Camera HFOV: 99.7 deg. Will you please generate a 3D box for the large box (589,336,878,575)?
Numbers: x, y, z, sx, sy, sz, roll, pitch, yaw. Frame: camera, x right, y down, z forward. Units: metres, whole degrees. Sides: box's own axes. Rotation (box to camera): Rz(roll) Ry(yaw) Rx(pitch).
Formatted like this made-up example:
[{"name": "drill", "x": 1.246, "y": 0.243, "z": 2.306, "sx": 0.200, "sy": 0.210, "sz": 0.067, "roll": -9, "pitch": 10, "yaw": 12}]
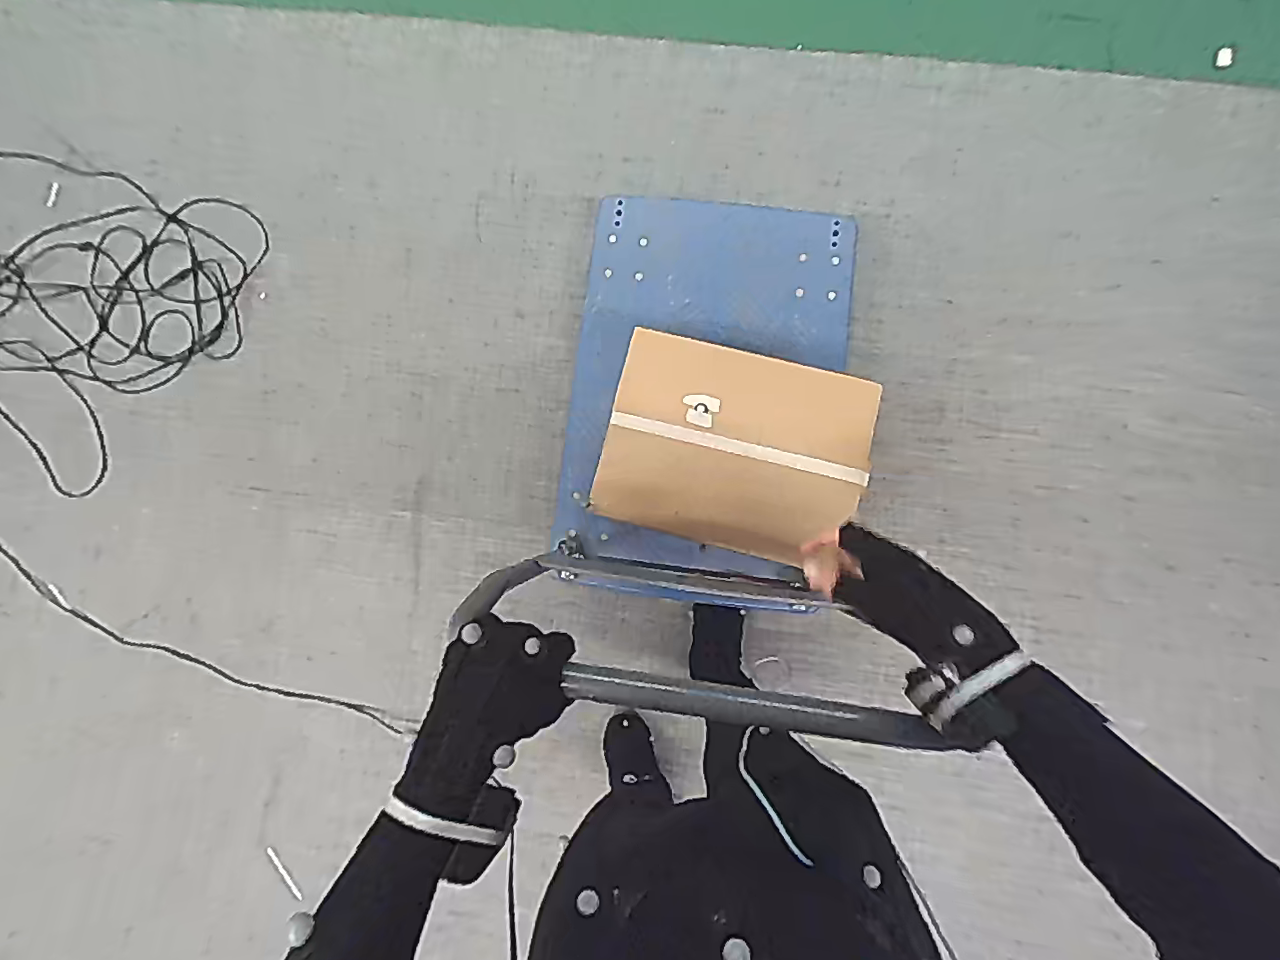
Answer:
[{"name": "large box", "x": 0.158, "y": -0.033, "z": 0.993, "sx": 0.408, "sy": 0.320, "sz": 0.320, "roll": 14, "pitch": 85, "yaw": 5}]
